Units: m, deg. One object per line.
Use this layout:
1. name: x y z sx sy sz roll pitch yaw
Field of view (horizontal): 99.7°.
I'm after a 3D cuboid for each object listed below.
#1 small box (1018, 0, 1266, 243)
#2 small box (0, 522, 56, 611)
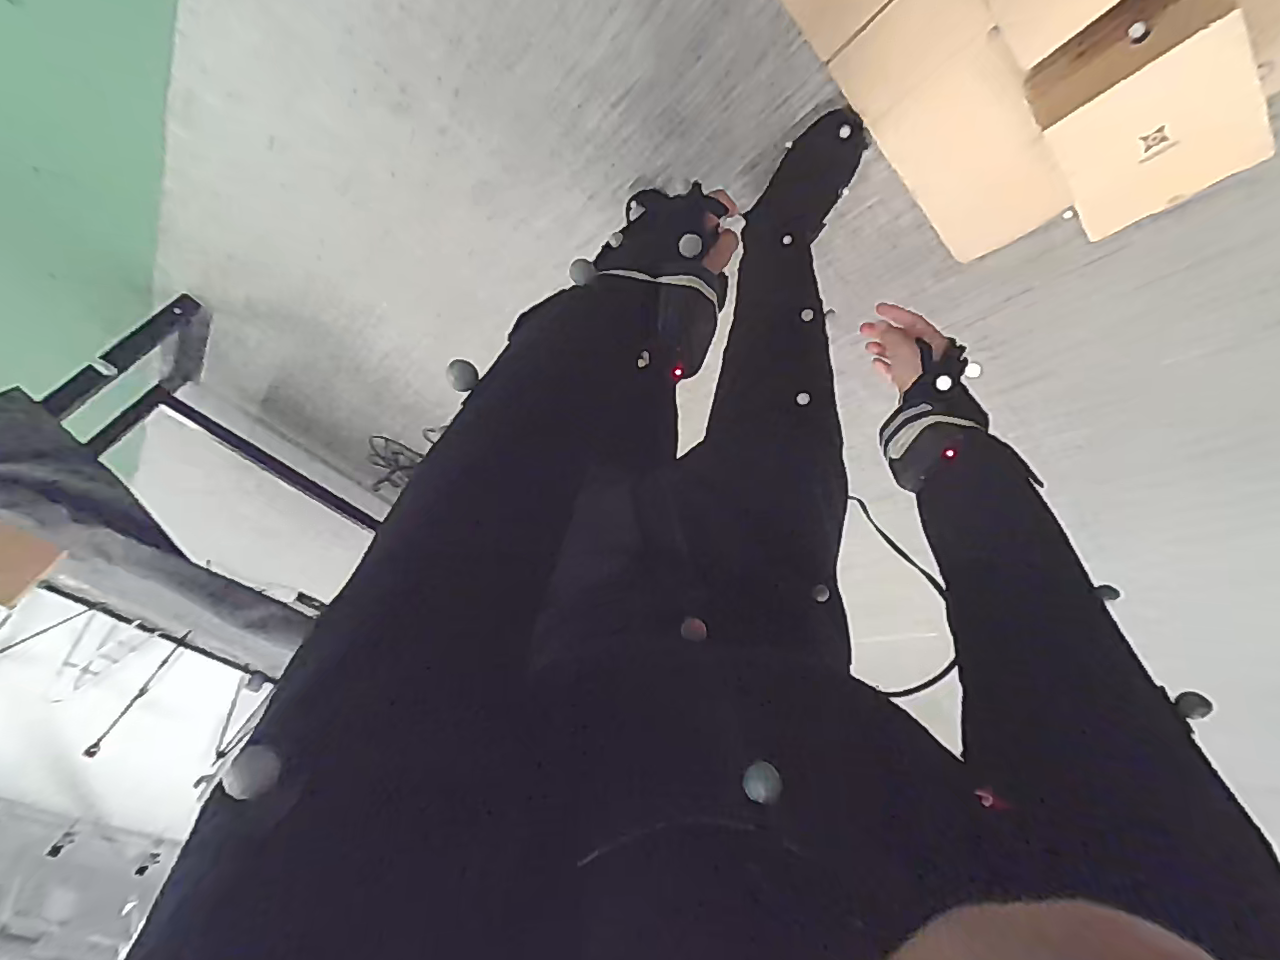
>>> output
1. small box: 0.593 -0.440 0.658 0.179 0.176 0.168 39 140 -24
2. small box: -1.570 0.200 1.295 0.168 0.176 0.179 -18 129 39
